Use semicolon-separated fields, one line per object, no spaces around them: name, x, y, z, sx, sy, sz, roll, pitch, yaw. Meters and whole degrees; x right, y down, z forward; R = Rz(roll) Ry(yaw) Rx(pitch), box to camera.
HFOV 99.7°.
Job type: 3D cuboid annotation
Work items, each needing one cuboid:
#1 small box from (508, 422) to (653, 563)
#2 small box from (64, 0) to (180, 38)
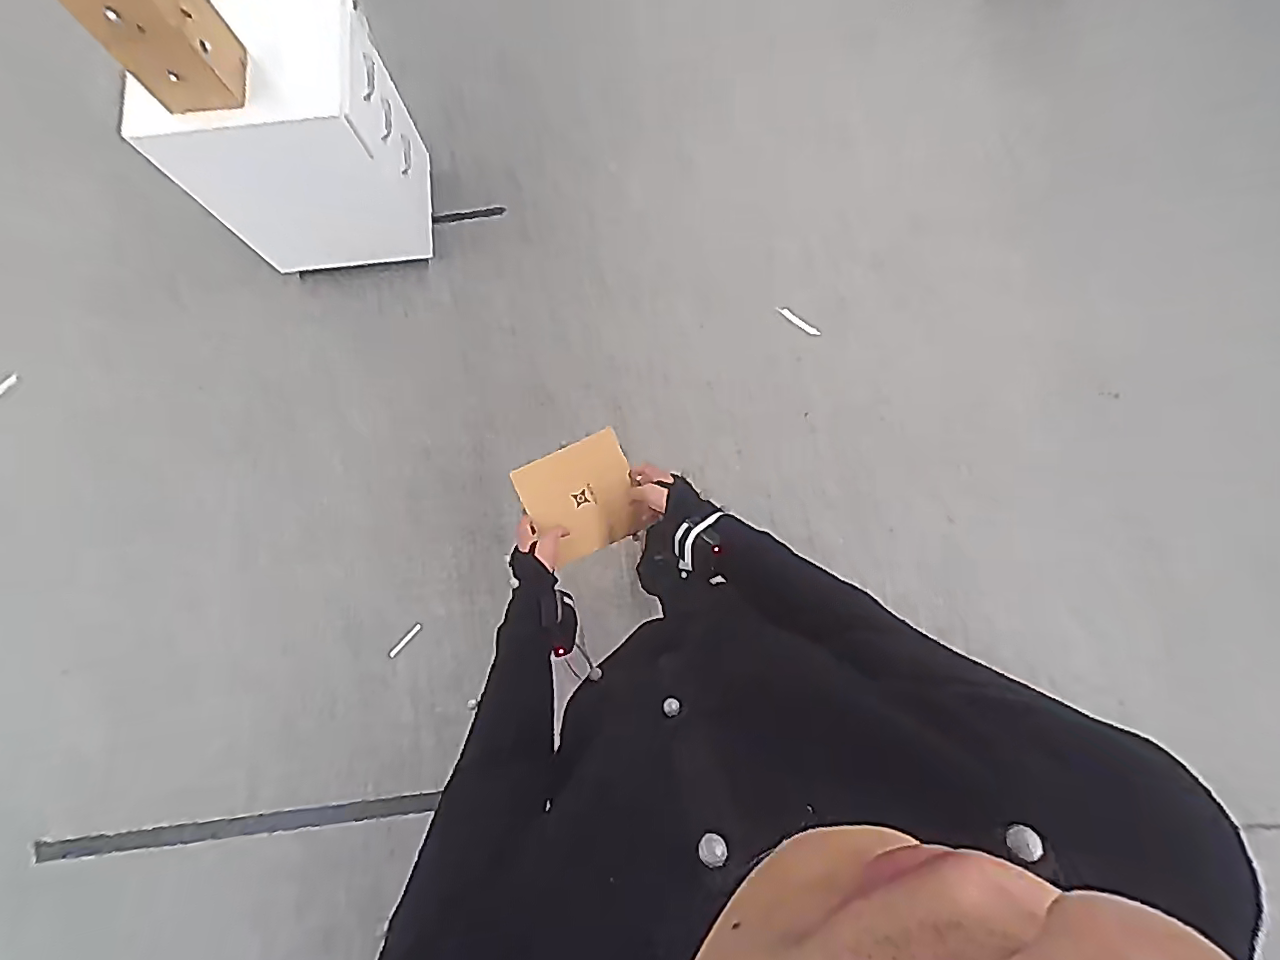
small box;-0.097;0.025;0.902;0.179;0.176;0.168;-26;88;-7
small box;-1.016;-0.989;1.022;0.168;0.176;0.179;-4;79;1
